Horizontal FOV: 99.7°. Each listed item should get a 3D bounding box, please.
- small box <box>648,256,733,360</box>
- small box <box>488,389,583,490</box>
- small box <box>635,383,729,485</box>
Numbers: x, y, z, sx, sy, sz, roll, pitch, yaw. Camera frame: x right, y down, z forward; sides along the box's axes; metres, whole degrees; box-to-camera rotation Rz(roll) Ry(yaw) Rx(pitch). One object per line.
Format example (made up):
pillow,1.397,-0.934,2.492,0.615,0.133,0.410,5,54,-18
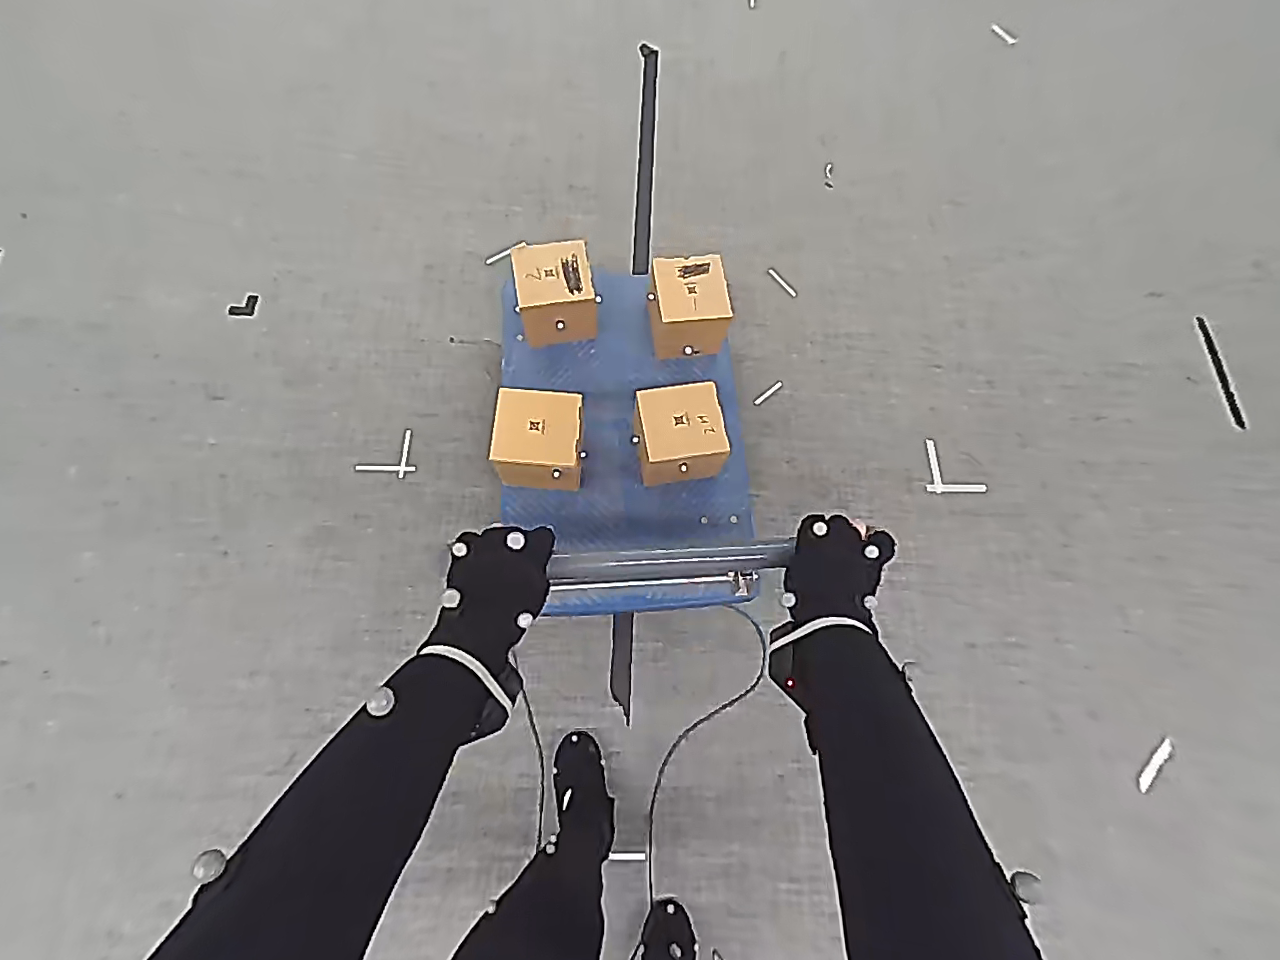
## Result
small box,0.115,-0.415,1.316,0.168,0.176,0.179,-6,73,-6
small box,-0.219,-0.083,1.185,0.179,0.176,0.168,4,71,-4
small box,0.084,-0.096,1.209,0.179,0.176,0.168,-8,73,-6
